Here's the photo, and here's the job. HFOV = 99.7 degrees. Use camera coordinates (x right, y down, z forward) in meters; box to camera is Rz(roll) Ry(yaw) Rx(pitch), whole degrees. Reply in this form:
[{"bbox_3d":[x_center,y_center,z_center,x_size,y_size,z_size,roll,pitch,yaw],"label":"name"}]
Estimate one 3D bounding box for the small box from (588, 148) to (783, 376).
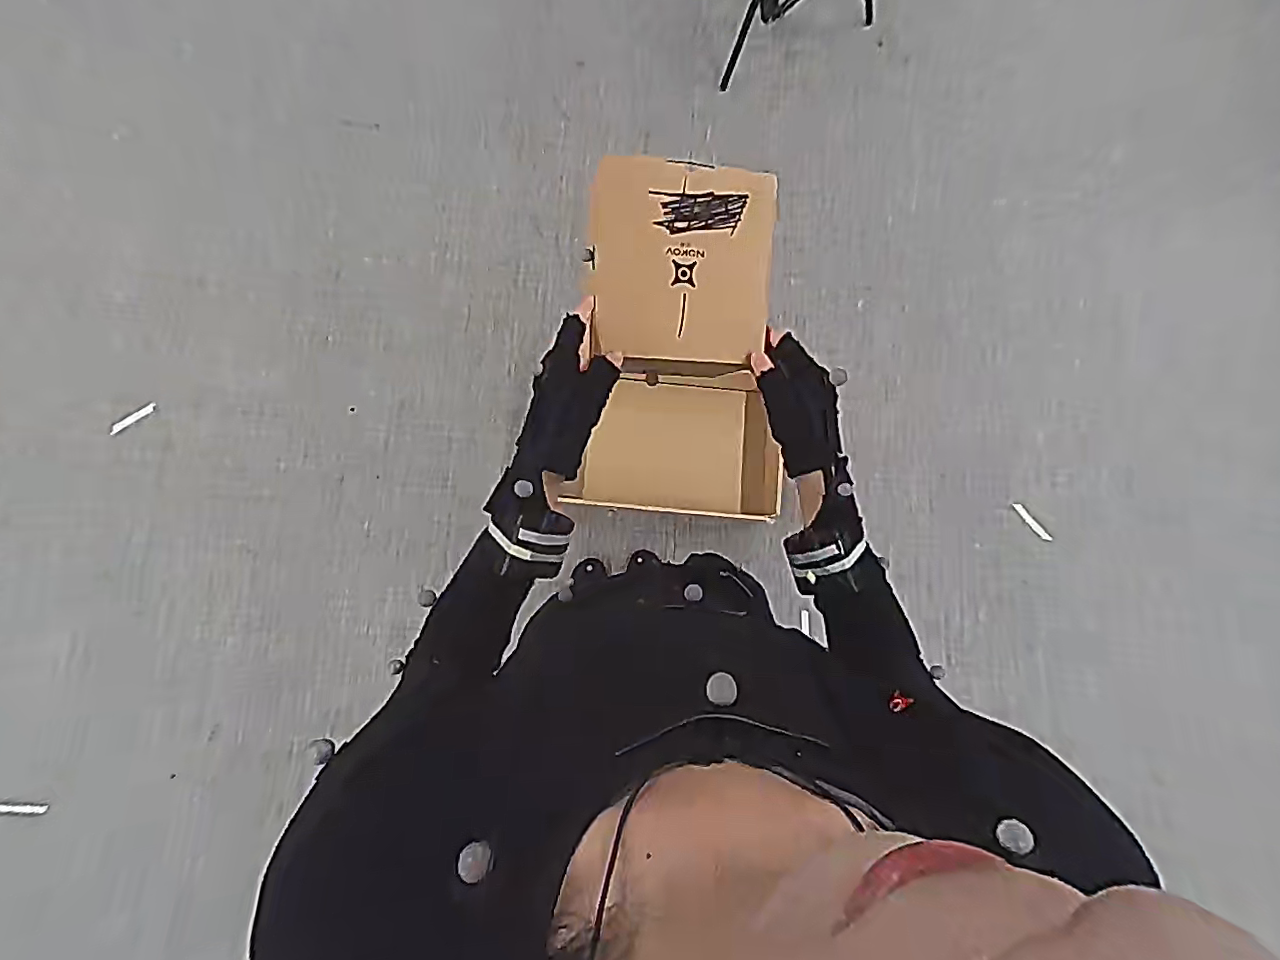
[{"bbox_3d":[0.034,-0.207,0.565,0.168,0.176,0.179,2,97,-9],"label":"small box"}]
